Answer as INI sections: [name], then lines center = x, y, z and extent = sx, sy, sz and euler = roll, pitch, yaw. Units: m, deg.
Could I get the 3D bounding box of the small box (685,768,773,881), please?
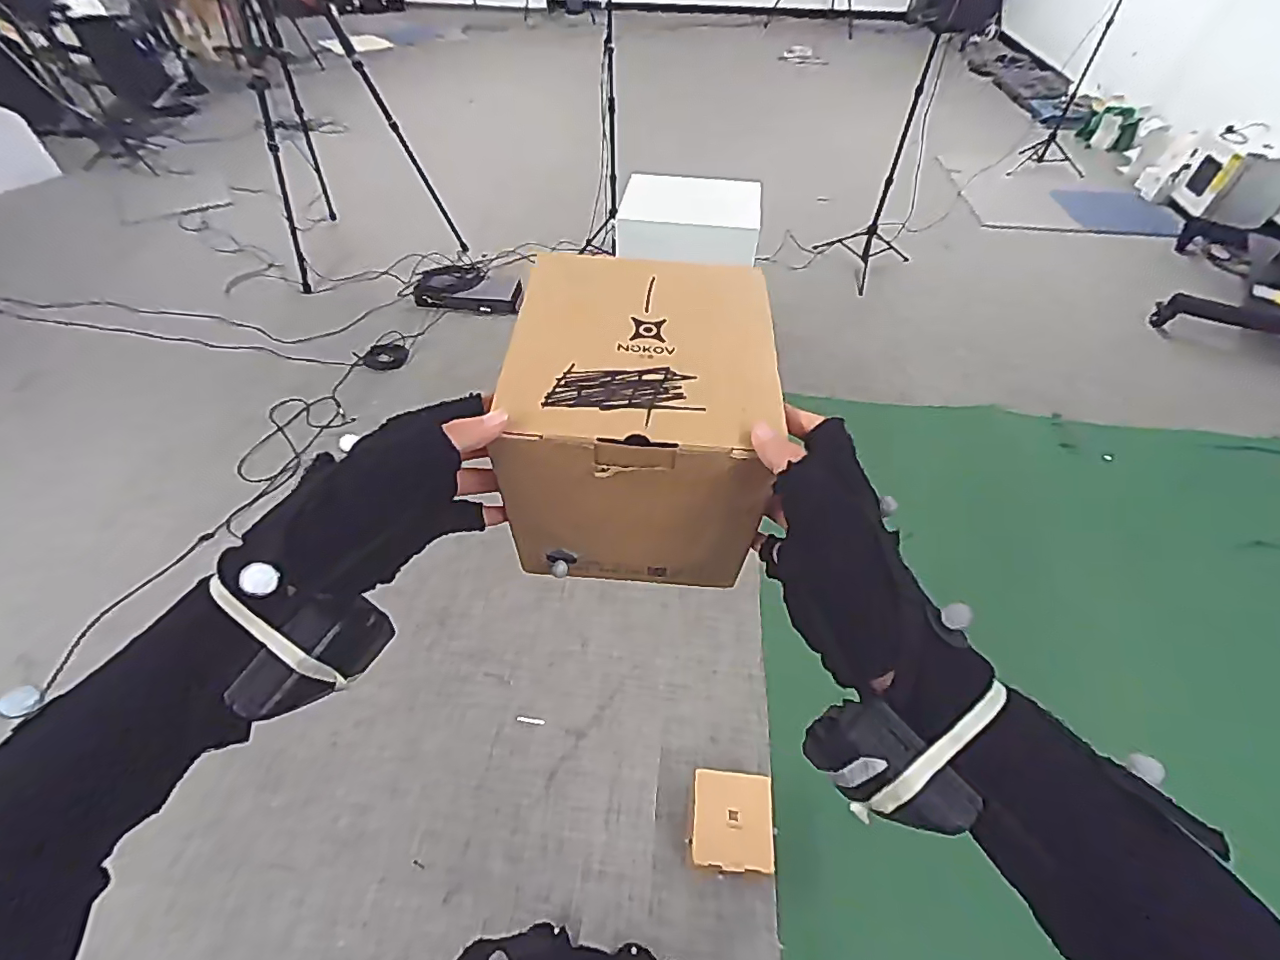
[small box]
center = 0.189, 0.757, 1.185
extent = 0.168, 0.176, 0.179
euler = 4, 50, 3
